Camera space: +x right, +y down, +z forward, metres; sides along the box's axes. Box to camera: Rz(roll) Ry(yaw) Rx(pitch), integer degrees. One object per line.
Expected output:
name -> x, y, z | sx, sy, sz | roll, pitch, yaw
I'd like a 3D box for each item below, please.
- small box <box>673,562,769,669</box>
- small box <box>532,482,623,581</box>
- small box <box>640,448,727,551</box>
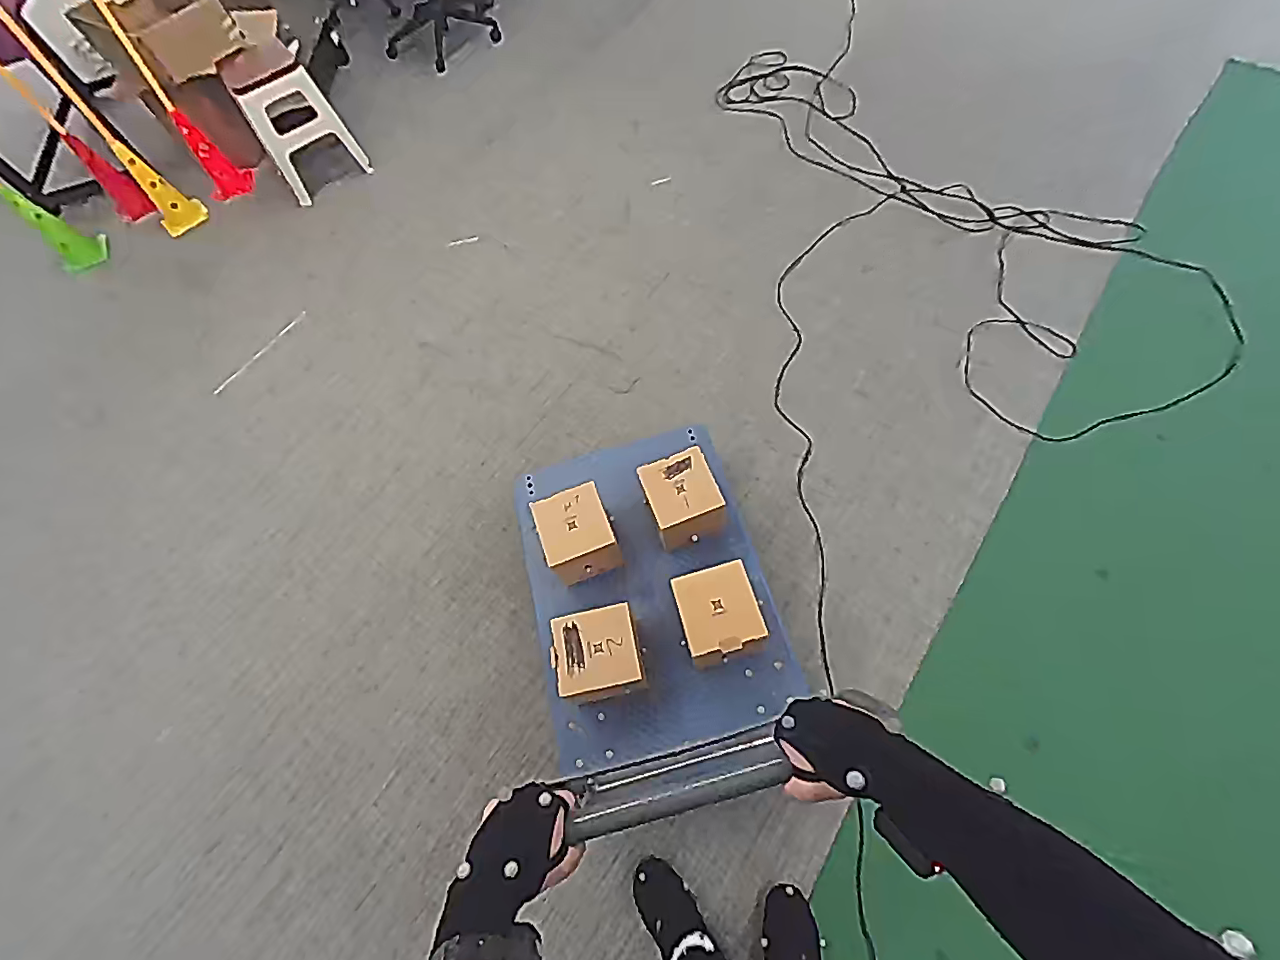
small box -> 0.176, 0.310, 1.220 | 0.168, 0.176, 0.179 | -16, 63, -1
small box -> -0.150, 0.137, 1.344 | 0.168, 0.176, 0.179 | -20, 63, -4
small box -> 0.108, 0.054, 1.355 | 0.168, 0.176, 0.179 | -20, 64, -3
